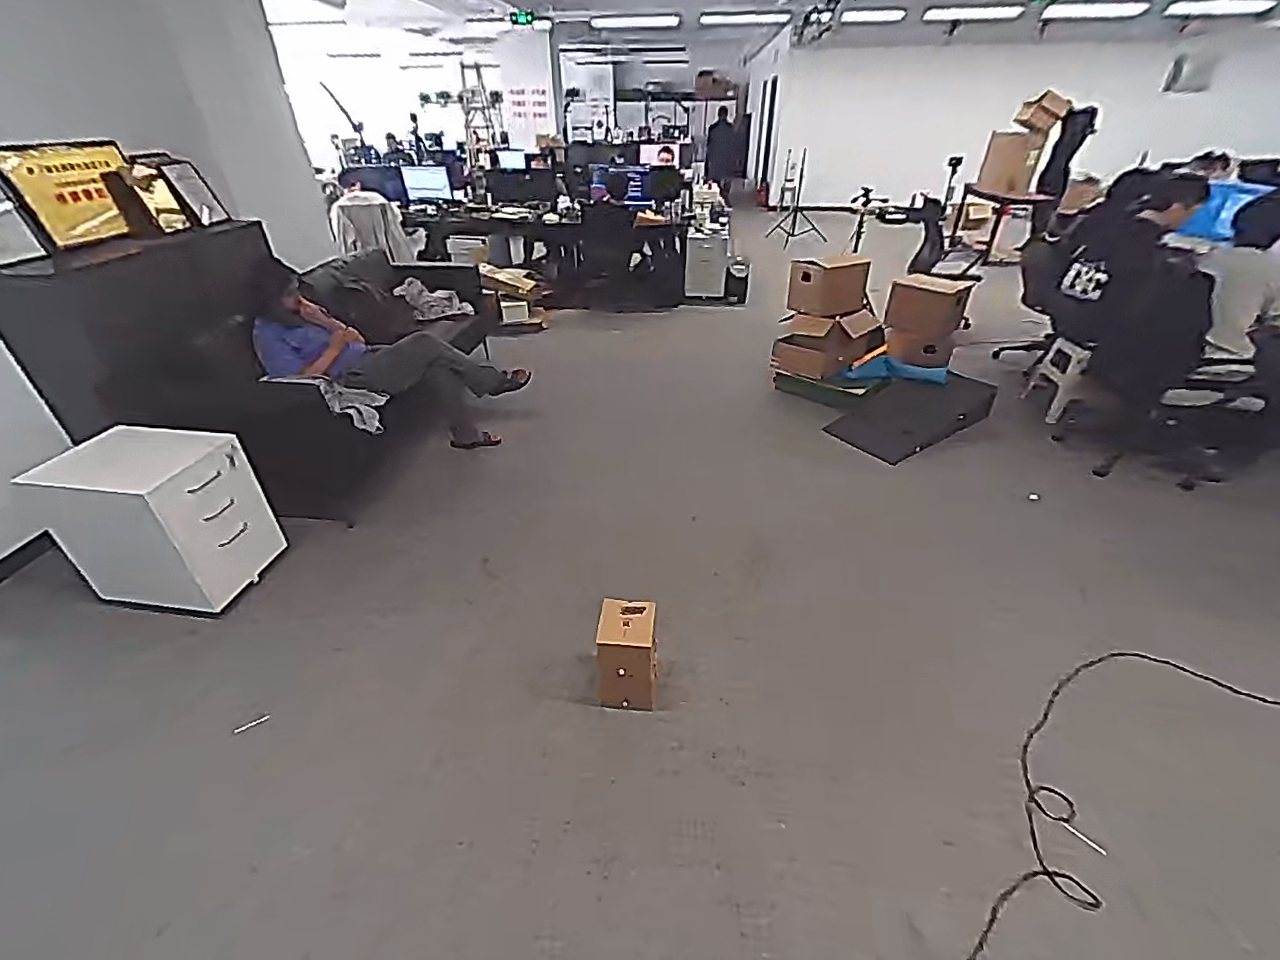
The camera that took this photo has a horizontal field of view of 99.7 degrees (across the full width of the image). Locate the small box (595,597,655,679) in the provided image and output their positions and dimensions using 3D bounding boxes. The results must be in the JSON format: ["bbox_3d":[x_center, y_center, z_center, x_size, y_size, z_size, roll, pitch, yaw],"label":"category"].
[{"bbox_3d":[-0.042,0.491,1.684,0.168,0.176,0.179,2,34,5],"label":"small box"}]

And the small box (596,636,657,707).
[{"bbox_3d":[-0.041,0.624,1.782,0.179,0.176,0.168,4,34,6],"label":"small box"}]
